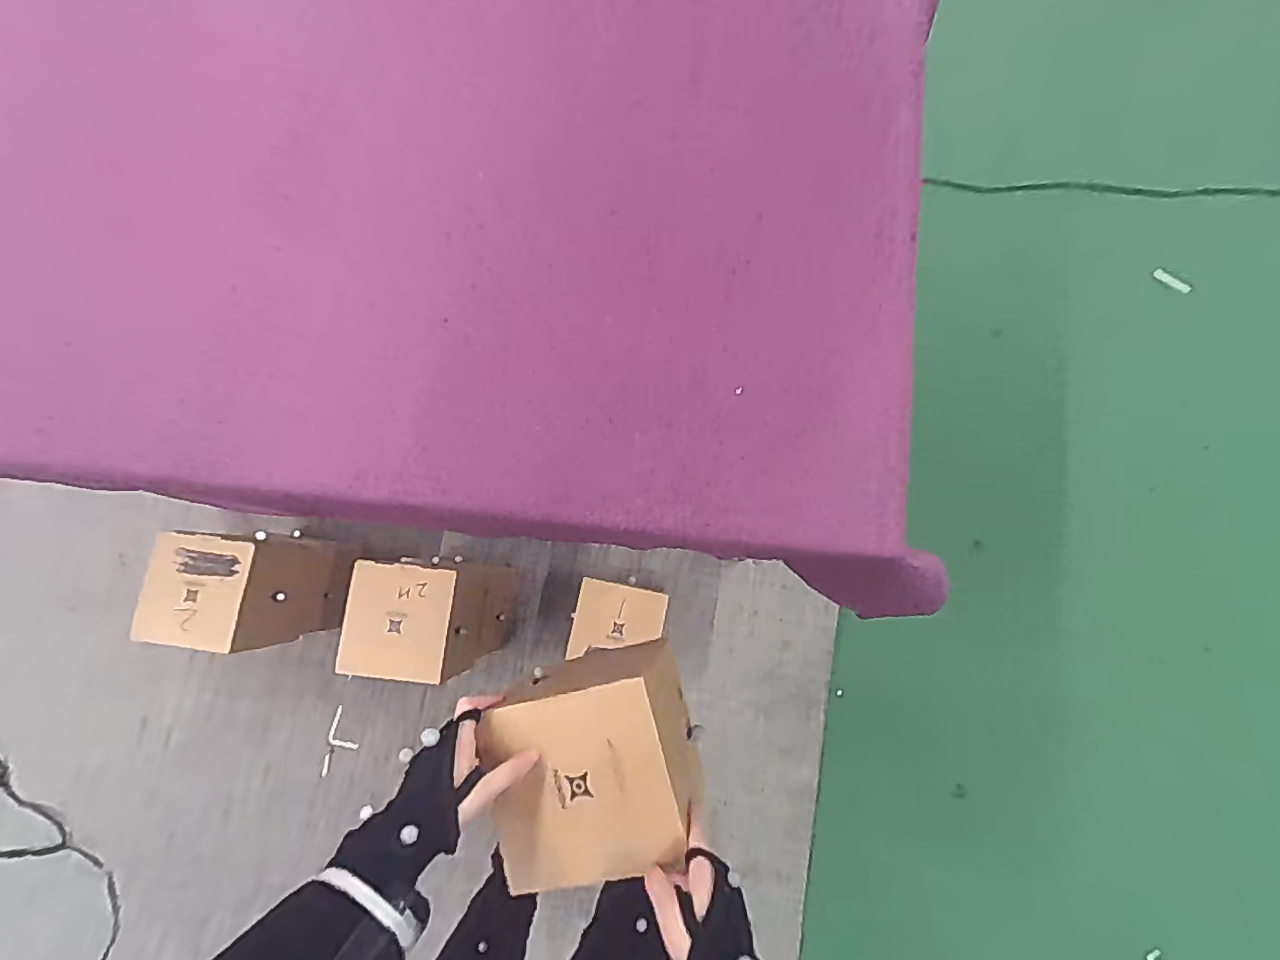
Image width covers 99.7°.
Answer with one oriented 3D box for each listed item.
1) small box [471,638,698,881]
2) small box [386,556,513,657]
[{"bbox_3d":[-0.048,0.282,0.578,0.179,0.176,0.168,-16,84,11],"label":"small box"},{"bbox_3d":[-0.374,0.250,1.089,0.179,0.176,0.168,8,81,3],"label":"small box"}]
